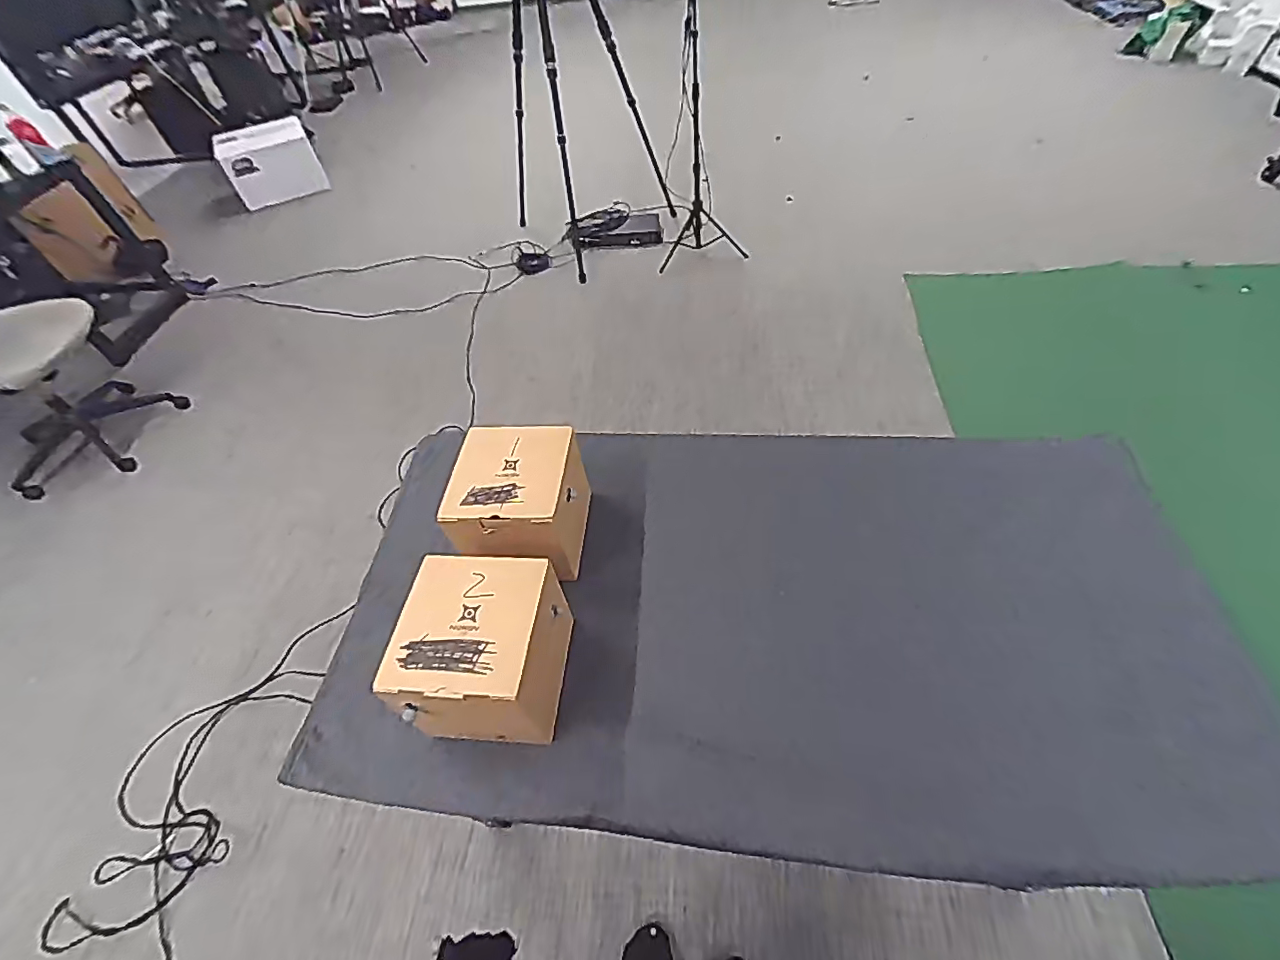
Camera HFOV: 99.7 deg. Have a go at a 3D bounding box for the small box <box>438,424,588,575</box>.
[{"bbox_3d":[-0.181,0.034,0.836,0.168,0.176,0.179,0,51,7],"label":"small box"}]
